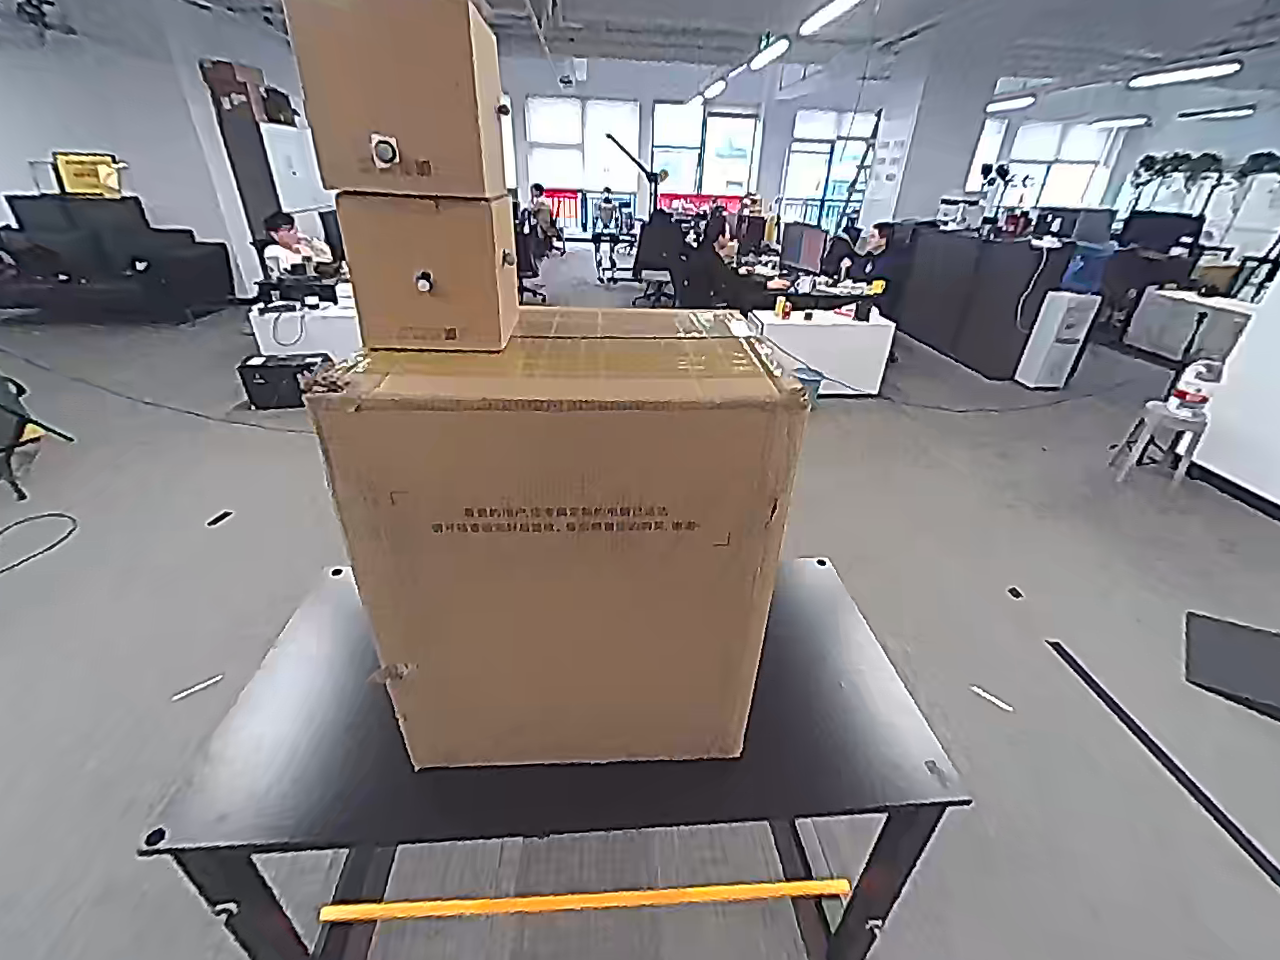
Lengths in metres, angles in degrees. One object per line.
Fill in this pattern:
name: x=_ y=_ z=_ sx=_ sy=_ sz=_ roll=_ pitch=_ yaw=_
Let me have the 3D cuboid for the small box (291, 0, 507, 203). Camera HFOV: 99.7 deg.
small box: x=-0.242 y=-0.404 z=0.590 sx=0.168 sy=0.176 sz=0.179 roll=-2 pitch=30 yaw=-6

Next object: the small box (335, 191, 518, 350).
small box: x=-0.248 y=-0.268 z=0.681 sx=0.168 sy=0.176 sz=0.179 roll=0 pitch=30 yaw=-6
